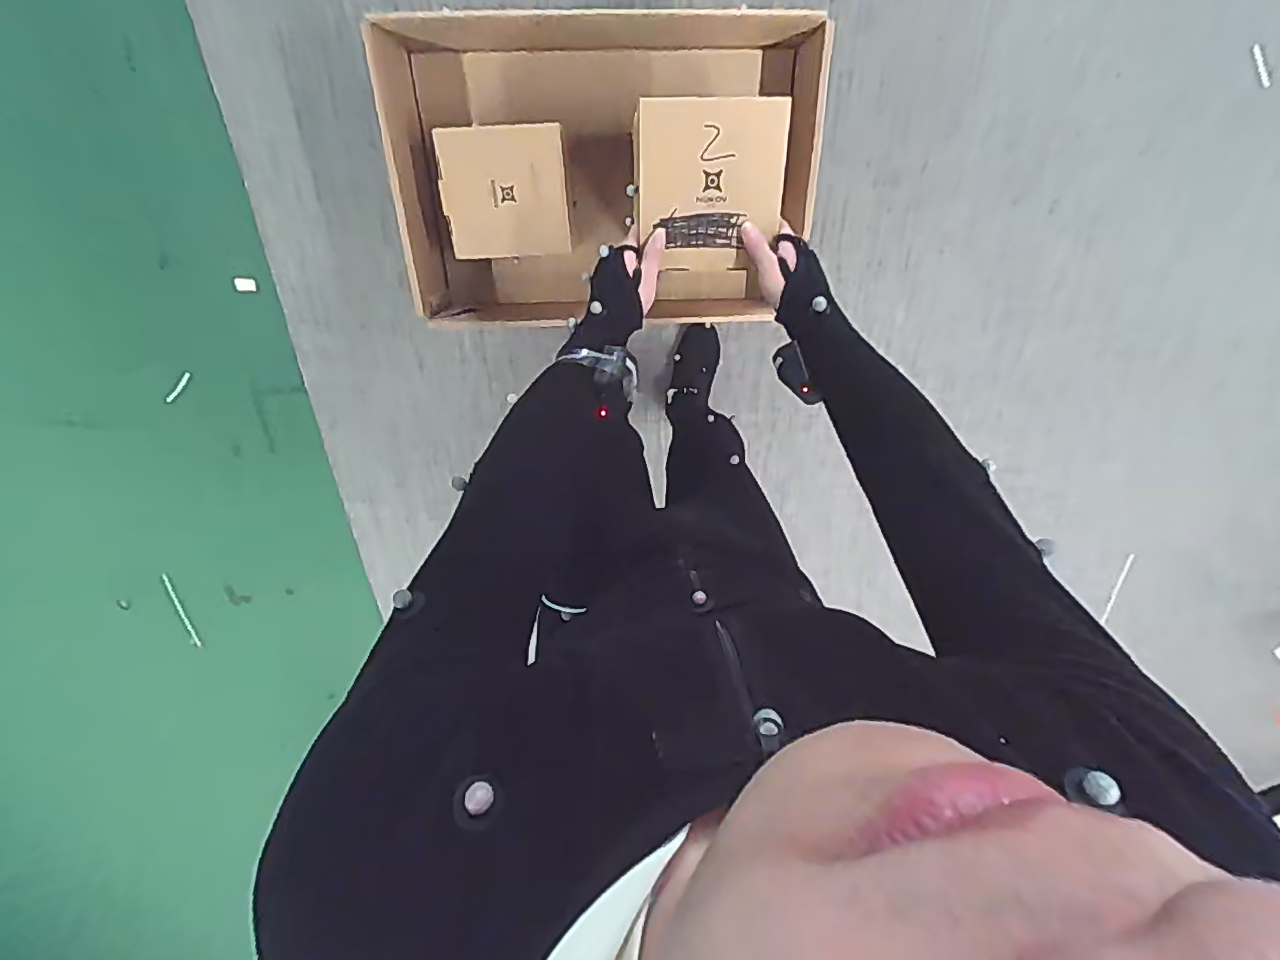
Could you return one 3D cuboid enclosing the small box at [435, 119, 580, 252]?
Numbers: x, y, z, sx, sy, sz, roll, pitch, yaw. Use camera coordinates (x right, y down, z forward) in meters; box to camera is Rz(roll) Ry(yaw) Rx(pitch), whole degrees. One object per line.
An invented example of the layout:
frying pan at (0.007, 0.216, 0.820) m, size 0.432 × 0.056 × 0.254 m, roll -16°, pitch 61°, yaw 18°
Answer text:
small box at (-0.189, -0.443, 0.829) m, size 0.179 × 0.176 × 0.168 m, roll -3°, pitch 117°, yaw -2°
